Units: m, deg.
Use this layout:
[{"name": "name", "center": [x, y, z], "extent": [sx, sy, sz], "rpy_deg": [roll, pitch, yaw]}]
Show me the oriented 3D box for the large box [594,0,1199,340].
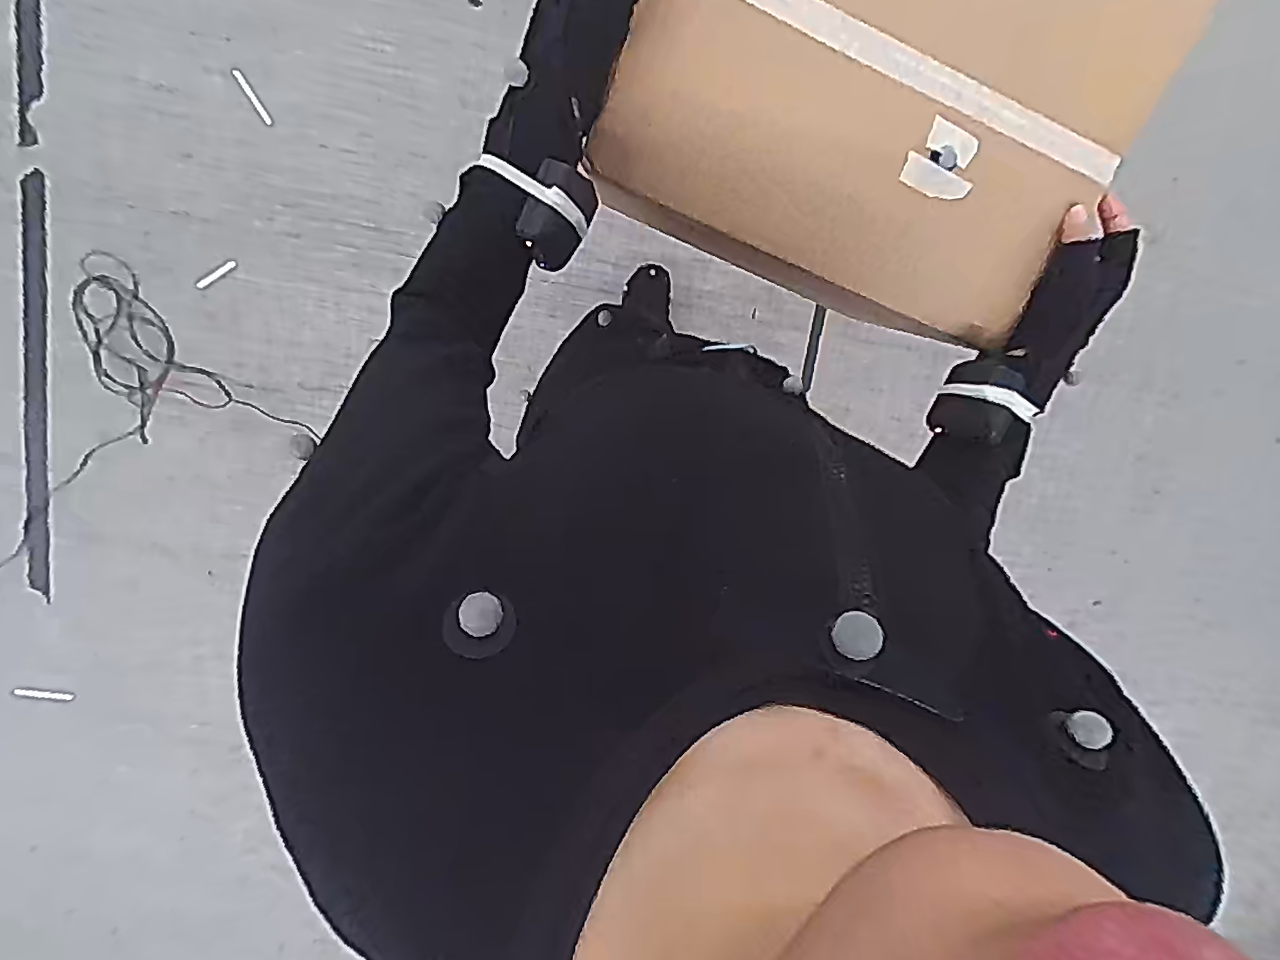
[{"name": "large box", "center": [0.192, -0.381, 0.561], "extent": [0.408, 0.320, 0.320], "rpy_deg": [20, 111, -10]}]
